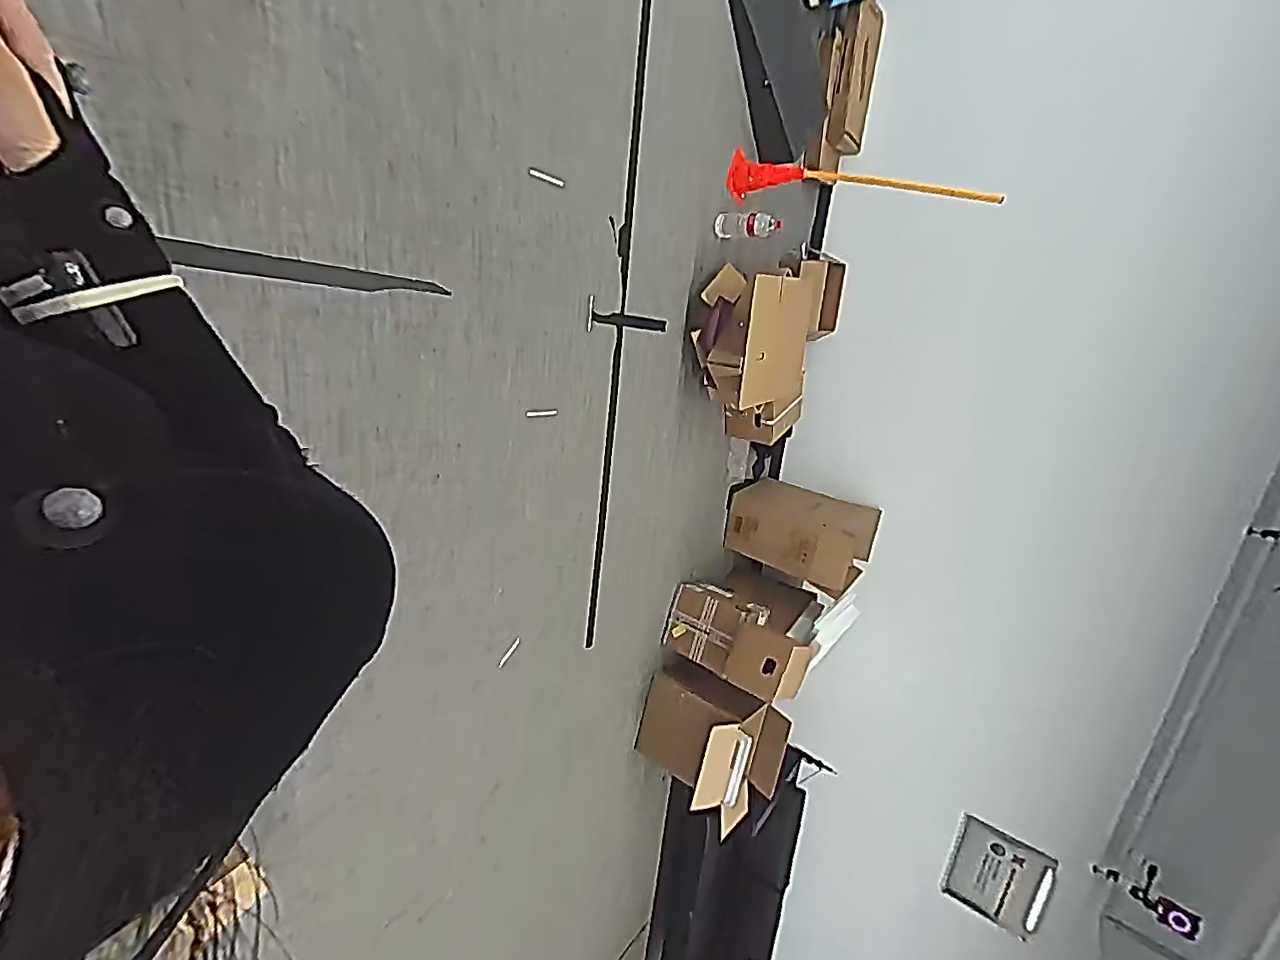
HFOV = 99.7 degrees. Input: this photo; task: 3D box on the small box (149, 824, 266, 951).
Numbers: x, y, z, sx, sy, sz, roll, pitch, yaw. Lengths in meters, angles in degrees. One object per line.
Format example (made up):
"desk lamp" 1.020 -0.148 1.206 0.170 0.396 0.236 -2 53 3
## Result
"small box" -1.145 1.069 1.436 0.179 0.176 0.168 -31 129 -46
